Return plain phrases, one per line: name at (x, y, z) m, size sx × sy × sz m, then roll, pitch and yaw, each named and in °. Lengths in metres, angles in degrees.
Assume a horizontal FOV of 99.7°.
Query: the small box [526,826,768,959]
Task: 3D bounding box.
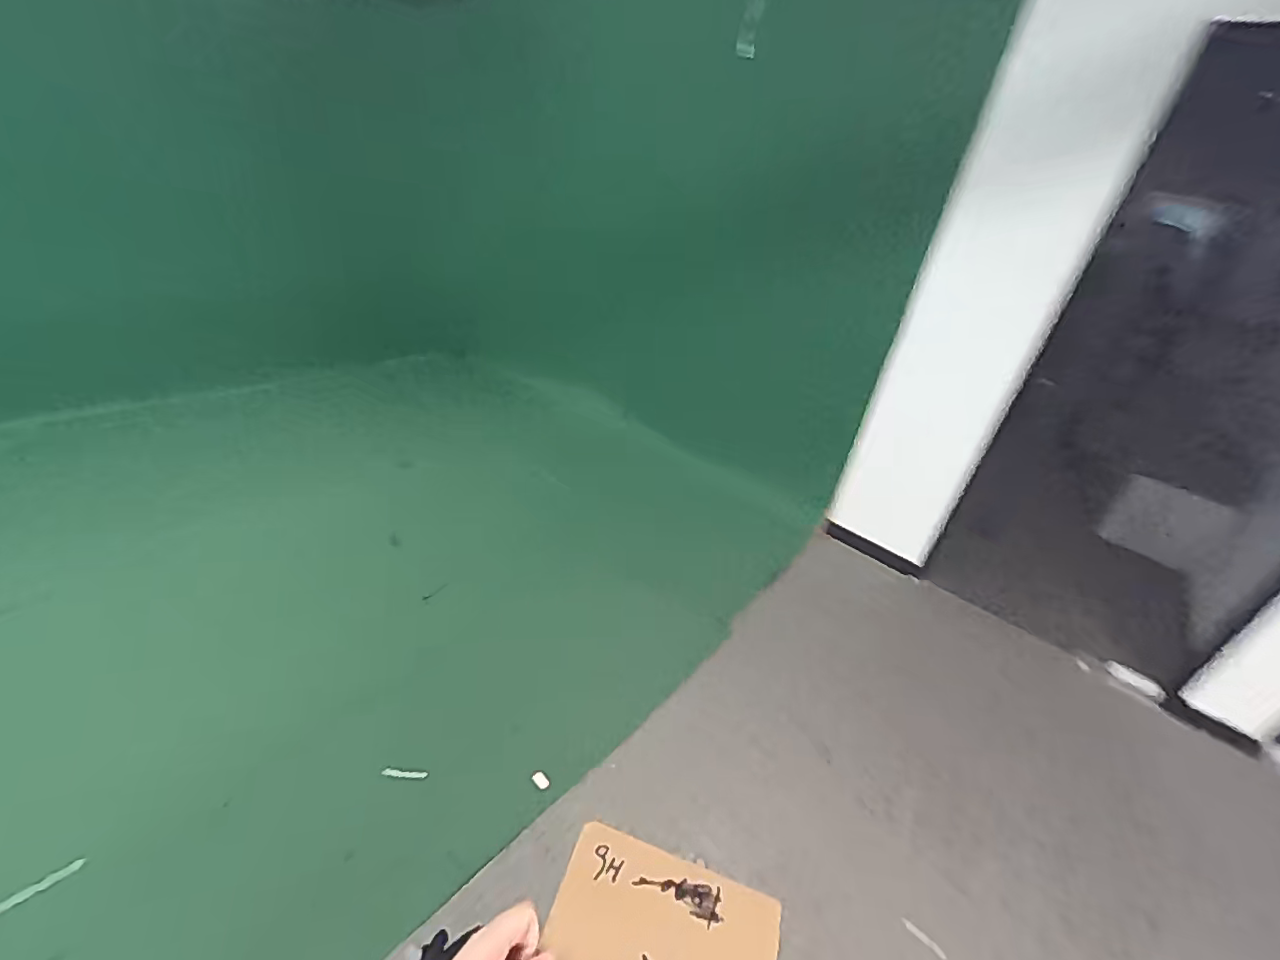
small box at (-0.011, 0.423, 0.425) m, size 0.168 × 0.176 × 0.179 m, roll 17°, pitch 41°, yaw 10°
